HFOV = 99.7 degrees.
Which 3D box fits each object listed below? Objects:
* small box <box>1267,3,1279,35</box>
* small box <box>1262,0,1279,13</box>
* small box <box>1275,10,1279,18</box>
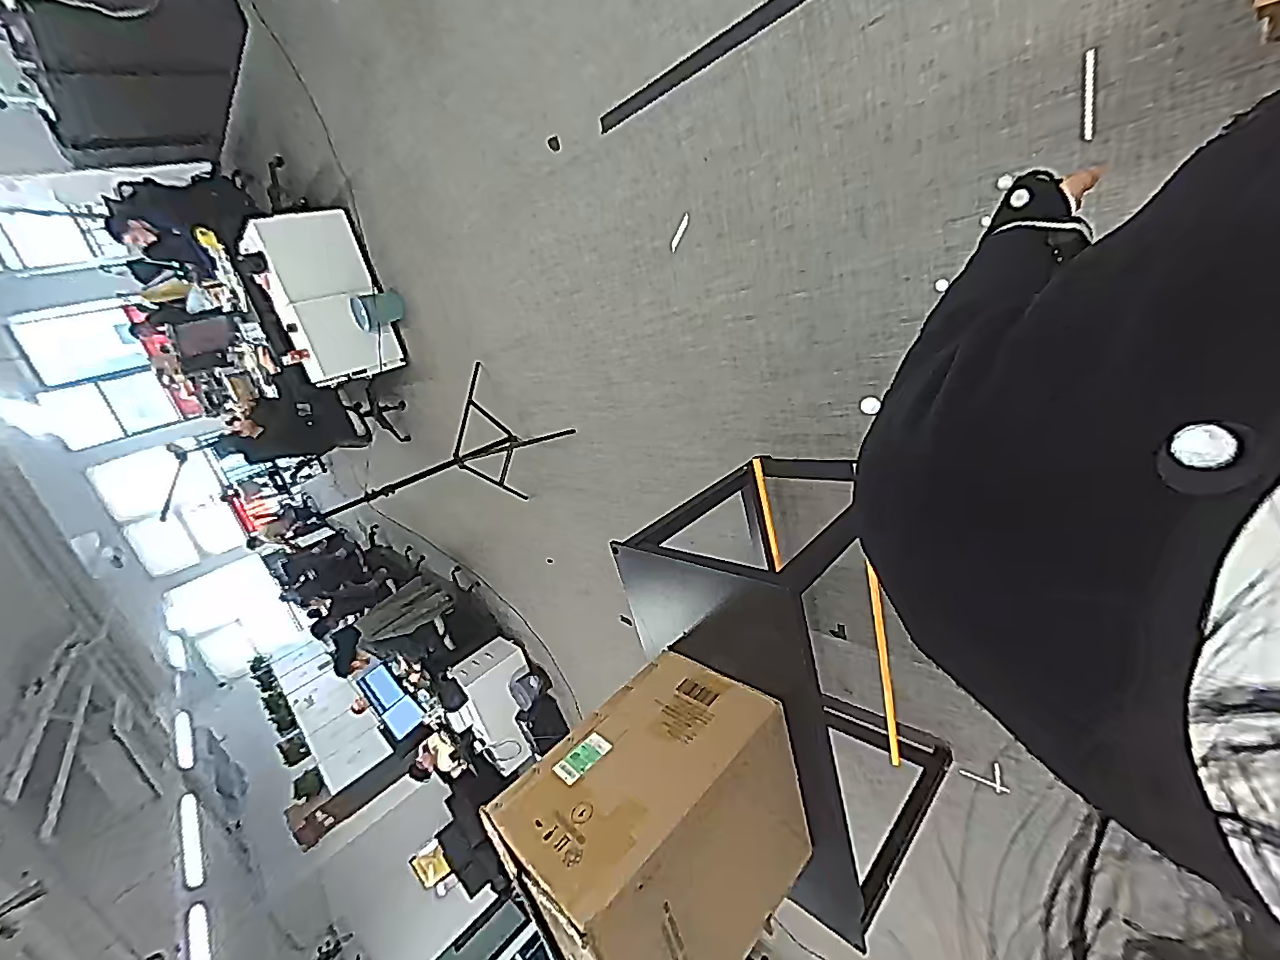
[{"bbox_3d":[0.986,-0.743,0.730,0.179,0.176,0.168,2,115,49],"label":"small box"},{"bbox_3d":[0.762,-0.605,0.536,0.168,0.176,0.179,14,126,46],"label":"small box"},{"bbox_3d":[0.874,-0.677,0.629,0.168,0.176,0.179,7,120,48],"label":"small box"}]
